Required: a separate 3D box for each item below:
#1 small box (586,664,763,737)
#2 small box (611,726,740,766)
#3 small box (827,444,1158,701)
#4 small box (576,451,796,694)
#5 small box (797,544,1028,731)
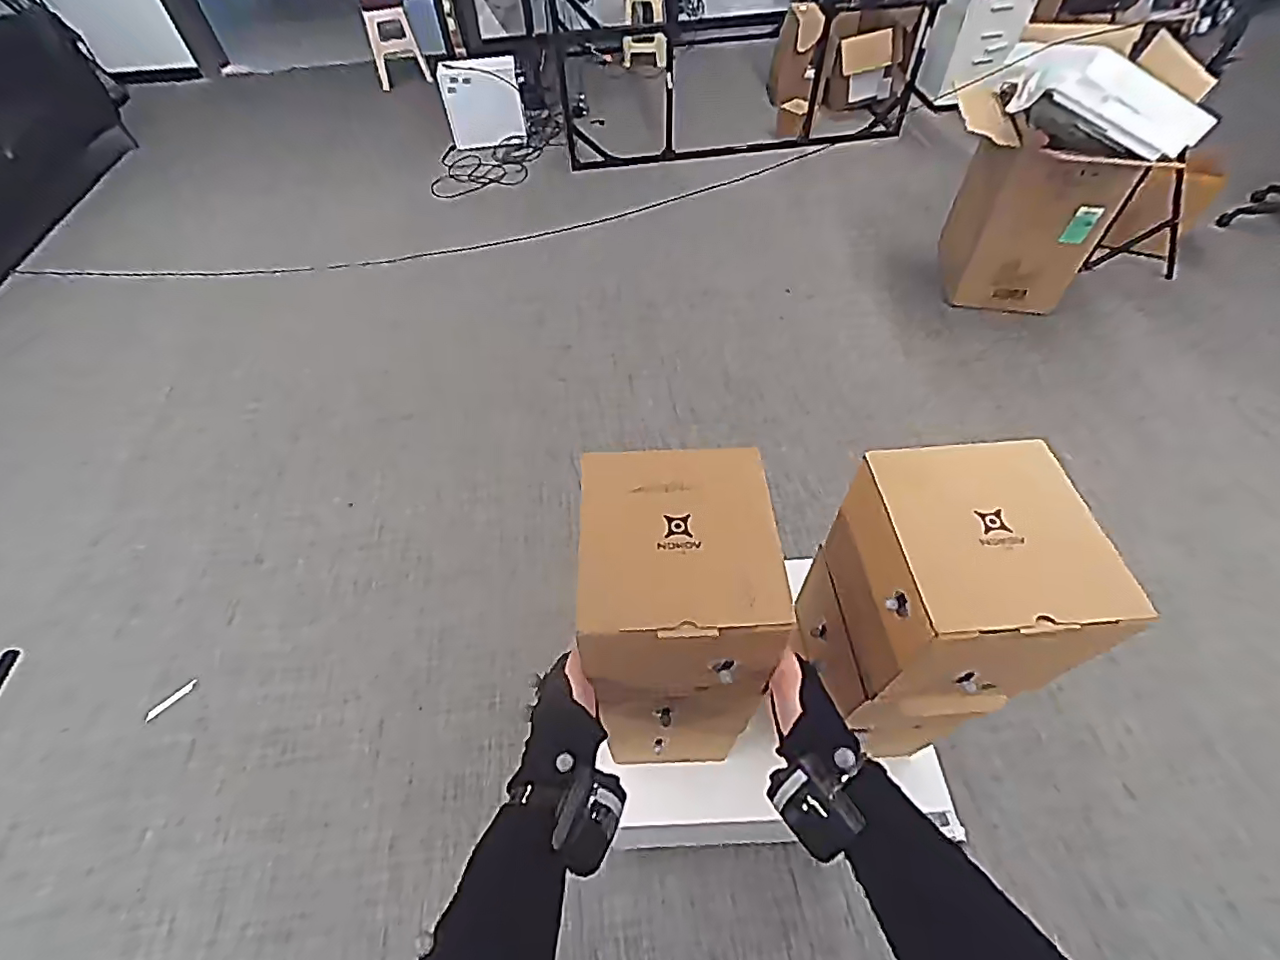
[{"bbox_3d":[0.035,0.197,0.635,0.179,0.176,0.168,-2,54,0],"label":"small box"},{"bbox_3d":[0.041,0.293,0.770,0.168,0.176,0.179,-2,52,1],"label":"small box"},{"bbox_3d":[0.290,0.089,0.502,0.168,0.176,0.179,-4,54,0],"label":"small box"},{"bbox_3d":[0.034,0.093,0.508,0.168,0.176,0.179,-2,52,-1],"label":"small box"},{"bbox_3d":[0.296,0.185,0.633,0.168,0.176,0.179,-4,53,0],"label":"small box"}]
